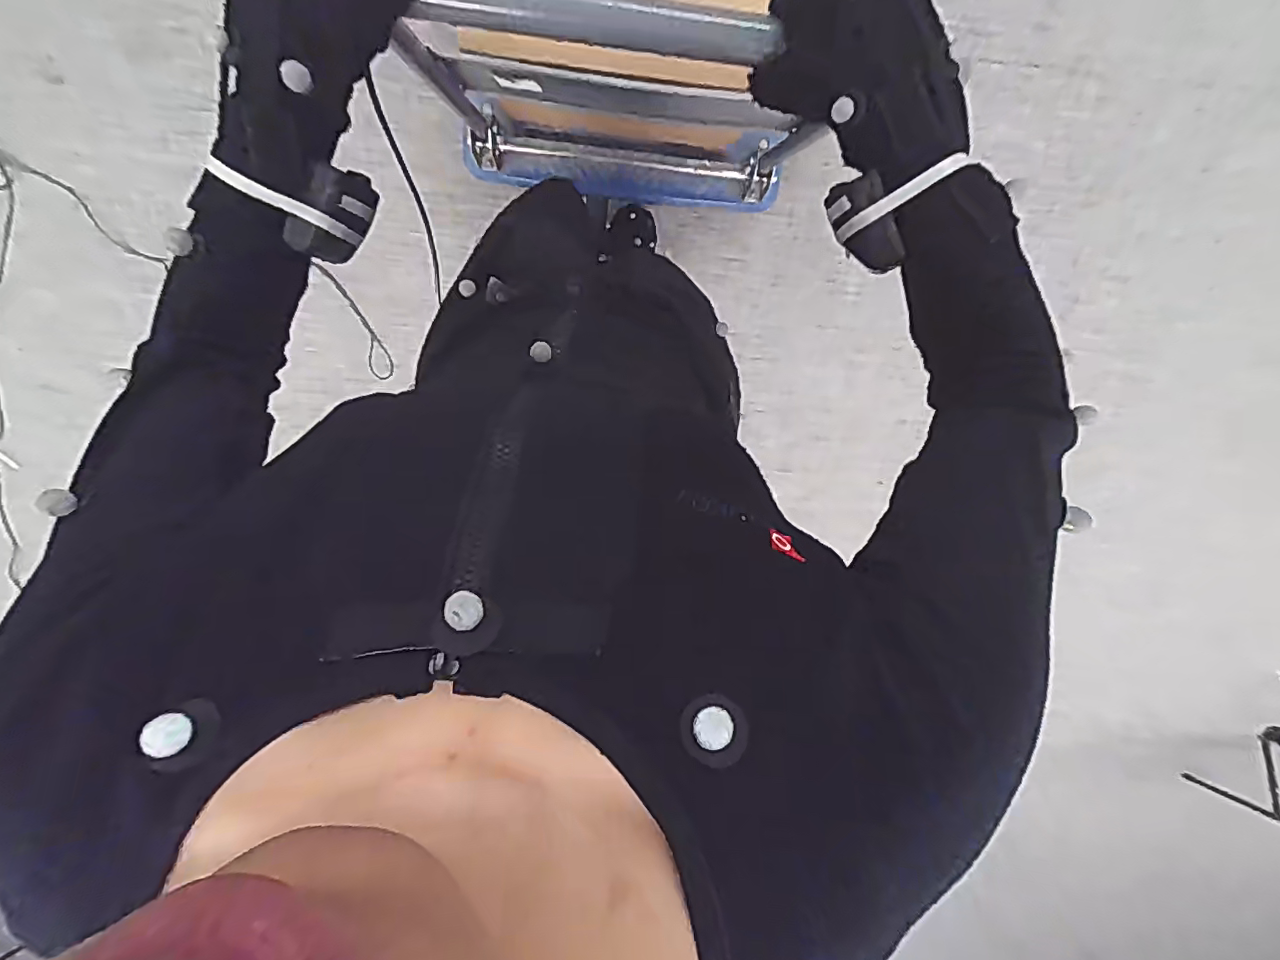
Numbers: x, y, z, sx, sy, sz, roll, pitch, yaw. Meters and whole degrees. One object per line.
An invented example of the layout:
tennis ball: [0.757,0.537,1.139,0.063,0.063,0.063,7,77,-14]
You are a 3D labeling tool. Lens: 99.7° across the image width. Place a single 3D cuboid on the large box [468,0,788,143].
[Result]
large box: [-0.017,-0.717,0.782,0.408,0.320,0.320,4,111,-5]
